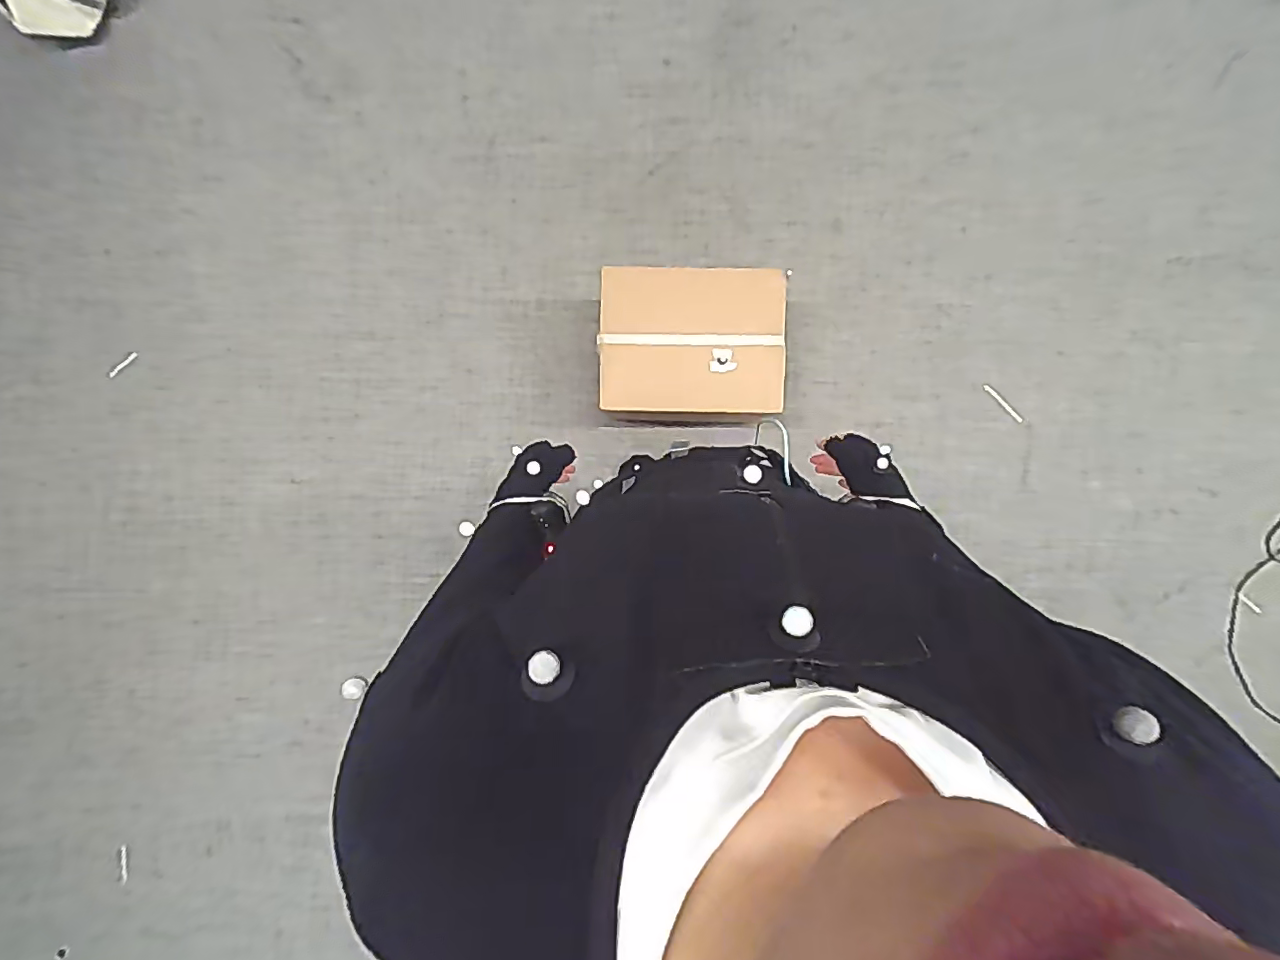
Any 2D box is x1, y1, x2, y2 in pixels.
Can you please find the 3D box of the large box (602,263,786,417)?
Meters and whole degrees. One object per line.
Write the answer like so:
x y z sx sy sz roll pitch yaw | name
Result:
0.117 -0.320 1.321 0.408 0.320 0.320 1 93 0 | large box
